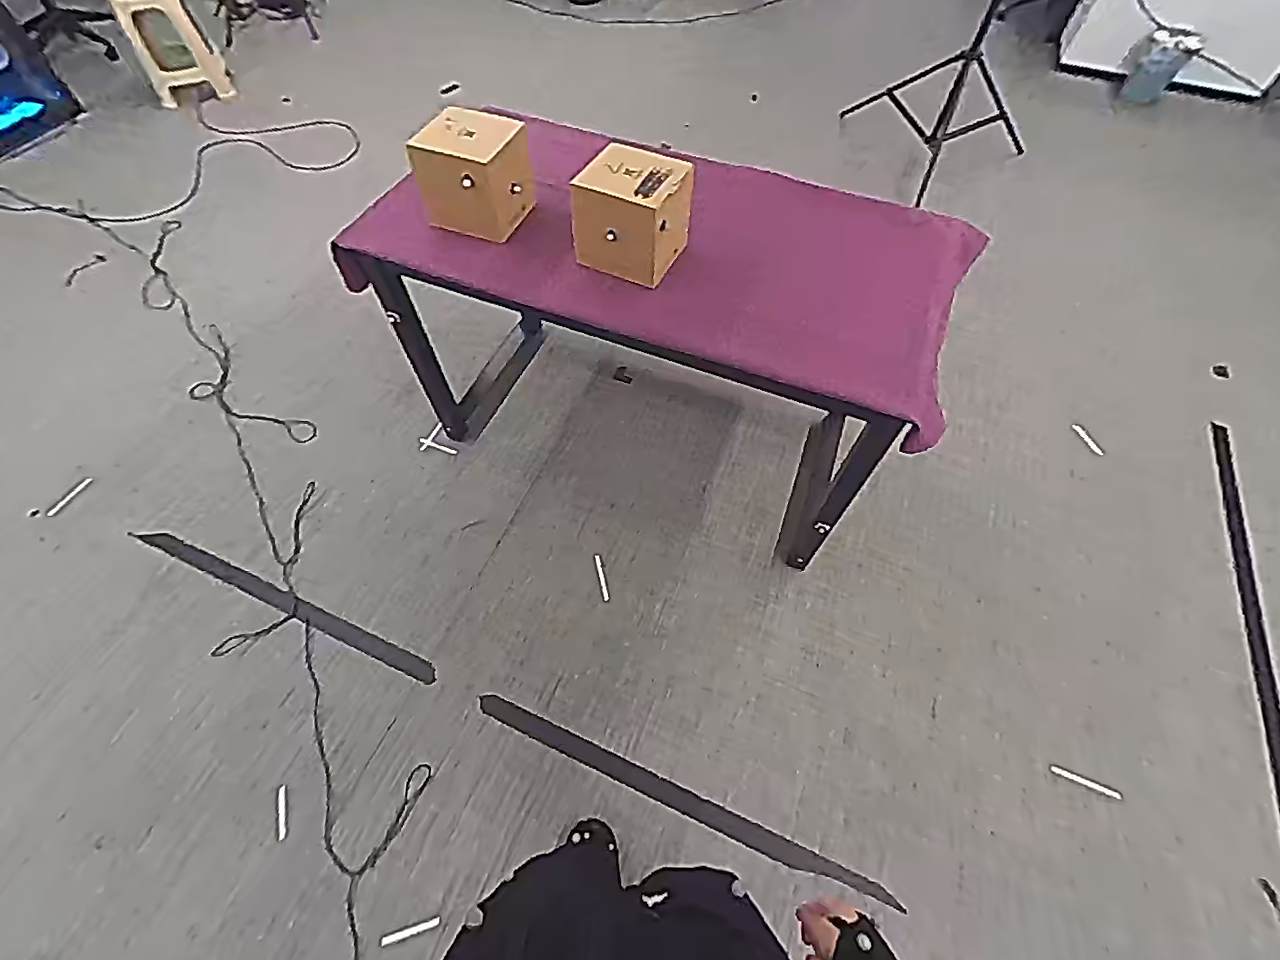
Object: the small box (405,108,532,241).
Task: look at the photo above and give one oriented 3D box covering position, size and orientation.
[{"bbox_3d":[-0.338,-0.622,1.111,0.179,0.176,0.168,17,59,9],"label":"small box"}]
